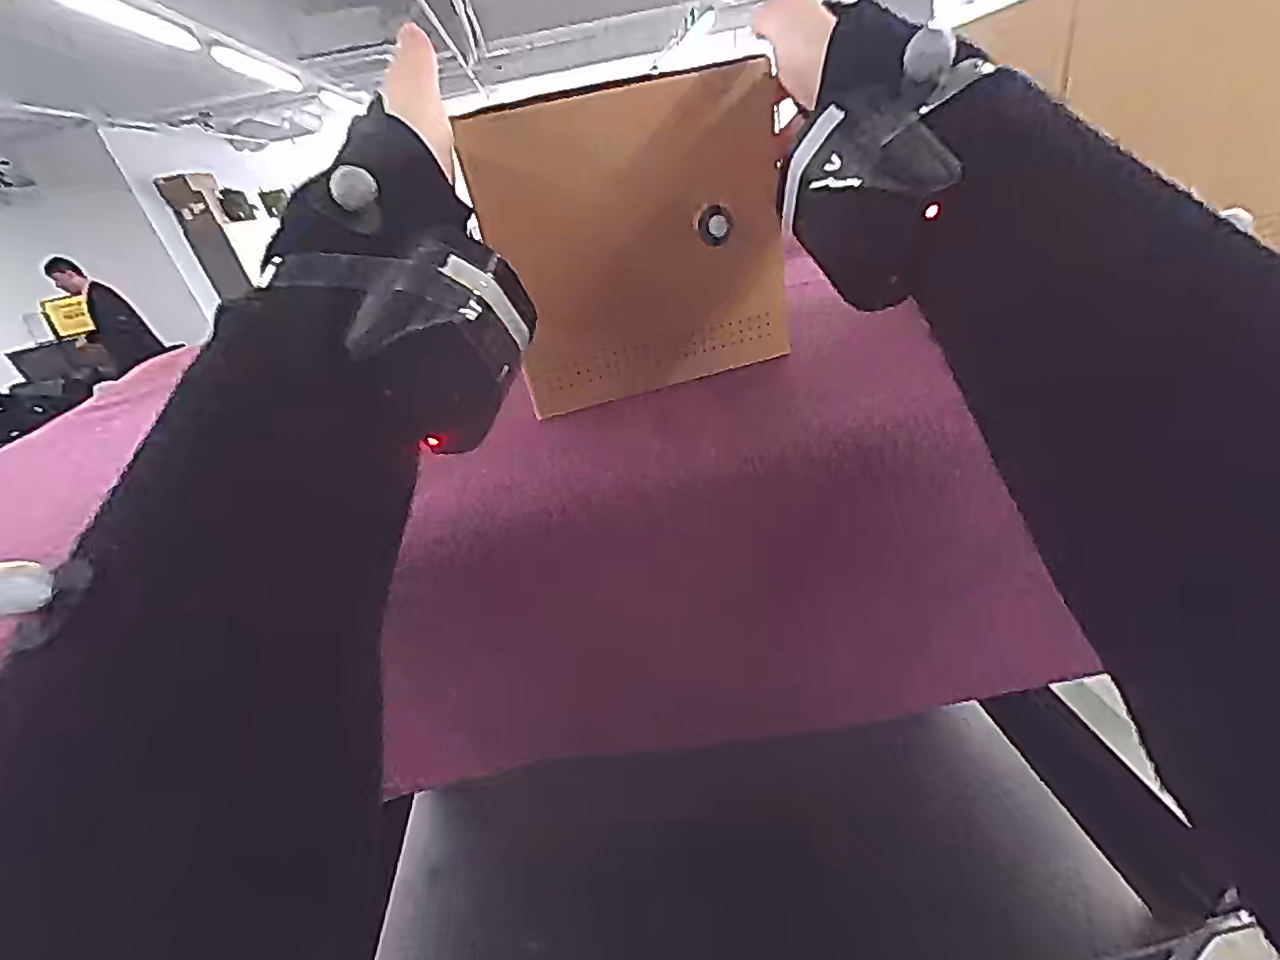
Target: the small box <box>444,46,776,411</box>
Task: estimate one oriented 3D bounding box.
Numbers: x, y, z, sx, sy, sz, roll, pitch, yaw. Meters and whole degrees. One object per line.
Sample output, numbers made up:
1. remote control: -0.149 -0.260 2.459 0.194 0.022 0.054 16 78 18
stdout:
1. small box: -0.015 -0.168 0.381 0.179 0.176 0.168 -16 28 -5
